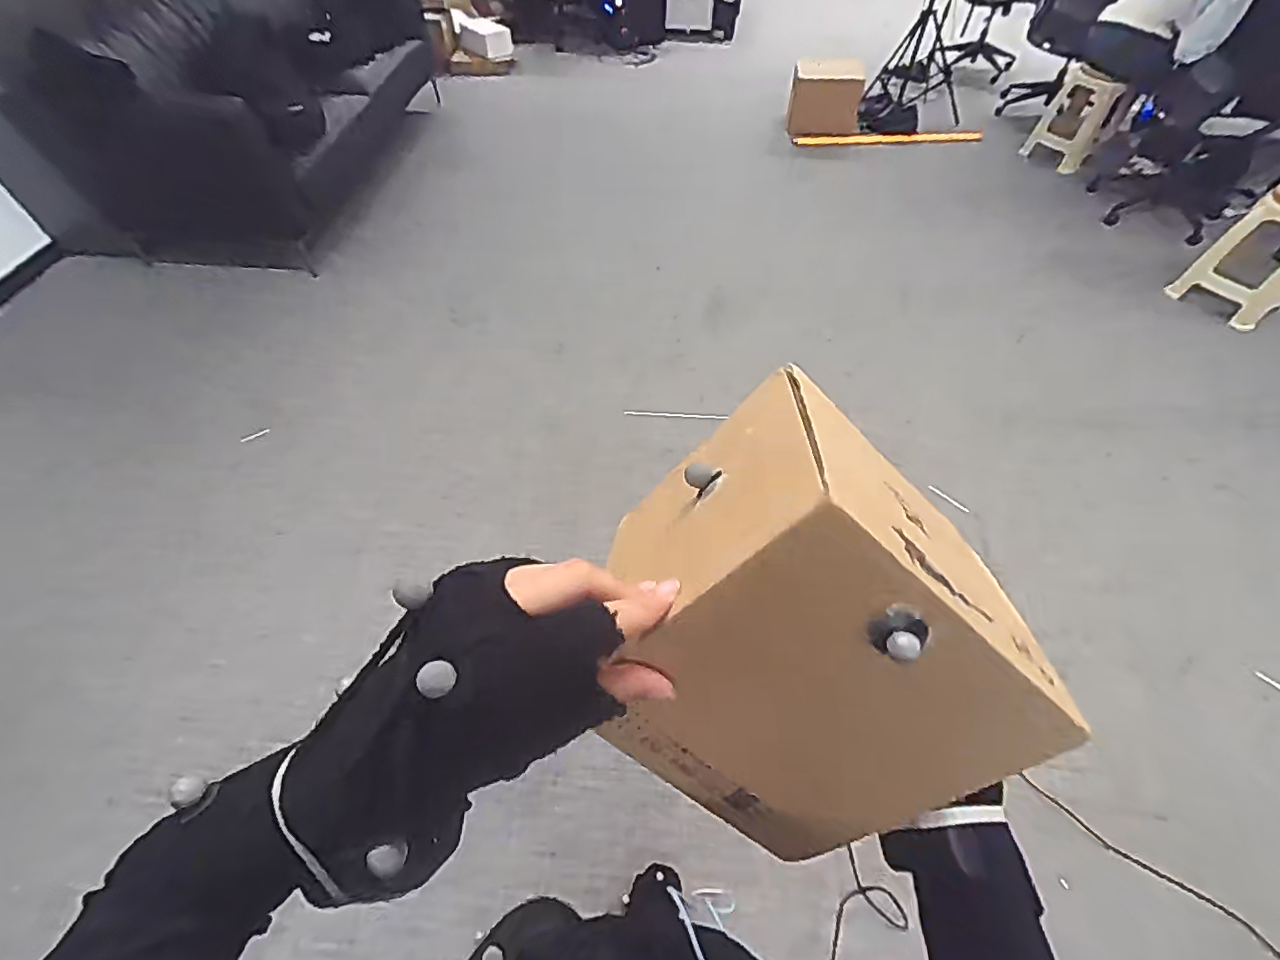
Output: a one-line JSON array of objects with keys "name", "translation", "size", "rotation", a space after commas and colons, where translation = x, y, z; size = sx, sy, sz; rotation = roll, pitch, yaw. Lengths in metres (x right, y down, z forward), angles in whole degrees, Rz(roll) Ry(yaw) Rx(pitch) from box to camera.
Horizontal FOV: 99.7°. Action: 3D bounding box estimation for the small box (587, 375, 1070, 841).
[{"name": "small box", "translation": [0.089, 0.069, 0.331], "size": [0.168, 0.176, 0.179], "rotation": [40, 25, -11]}]
